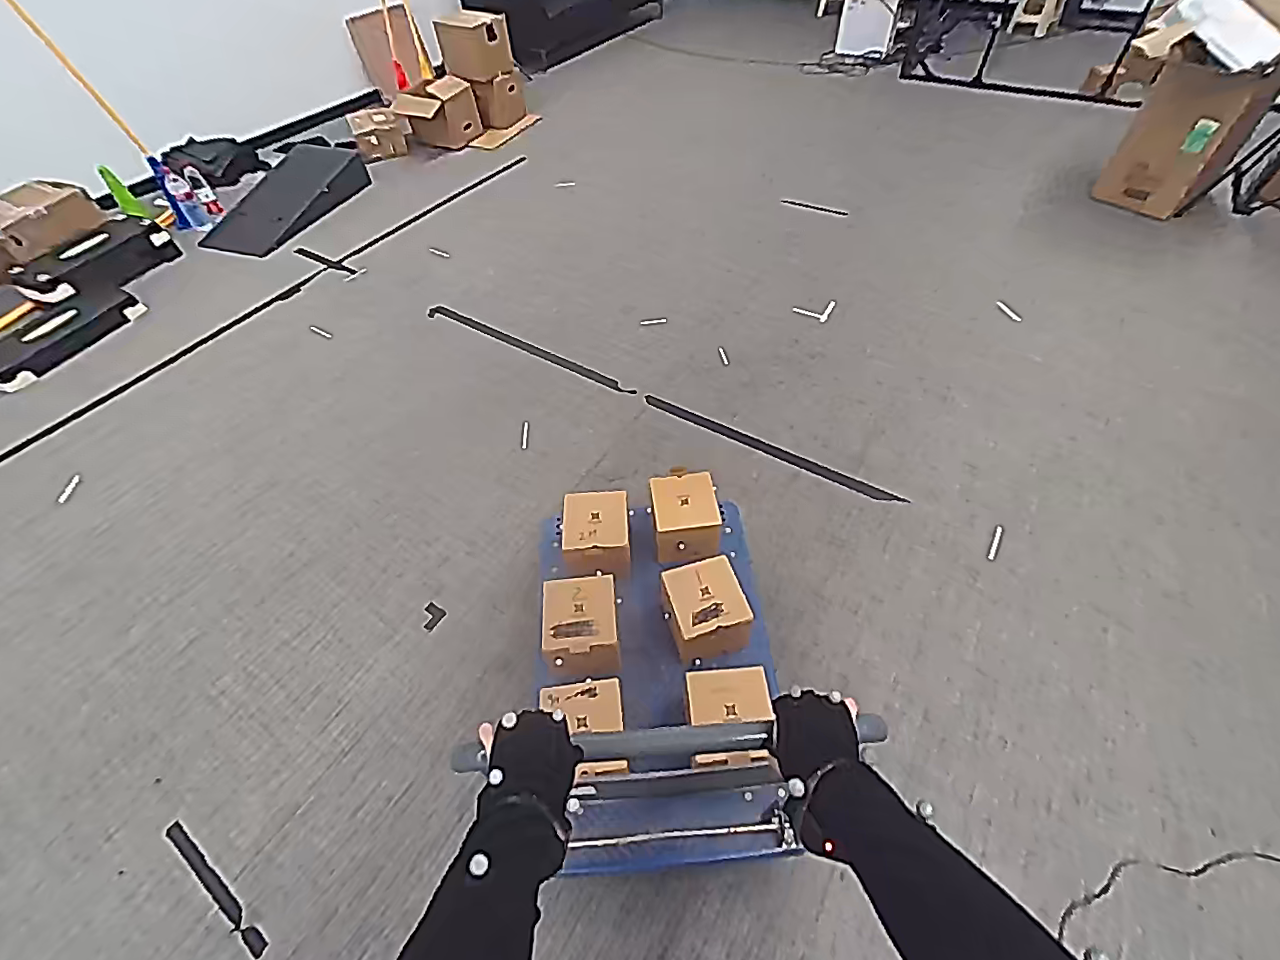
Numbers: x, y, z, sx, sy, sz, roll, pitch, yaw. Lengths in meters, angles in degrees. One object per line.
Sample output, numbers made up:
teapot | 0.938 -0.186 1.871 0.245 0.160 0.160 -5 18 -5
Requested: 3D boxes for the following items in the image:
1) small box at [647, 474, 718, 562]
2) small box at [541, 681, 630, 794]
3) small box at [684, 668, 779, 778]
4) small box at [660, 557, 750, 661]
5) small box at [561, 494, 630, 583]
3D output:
small box | 0.115 0.111 1.474 0.168 0.176 0.179 -7 51 -3
small box | -0.112 0.544 1.131 0.168 0.176 0.179 -7 51 -4
small box | 0.185 0.517 1.141 0.168 0.176 0.179 -4 50 -1
small box | 0.152 0.318 1.302 0.168 0.176 0.179 -14 51 -8
small box | -0.114 0.157 1.446 0.168 0.176 0.179 -4 52 0
